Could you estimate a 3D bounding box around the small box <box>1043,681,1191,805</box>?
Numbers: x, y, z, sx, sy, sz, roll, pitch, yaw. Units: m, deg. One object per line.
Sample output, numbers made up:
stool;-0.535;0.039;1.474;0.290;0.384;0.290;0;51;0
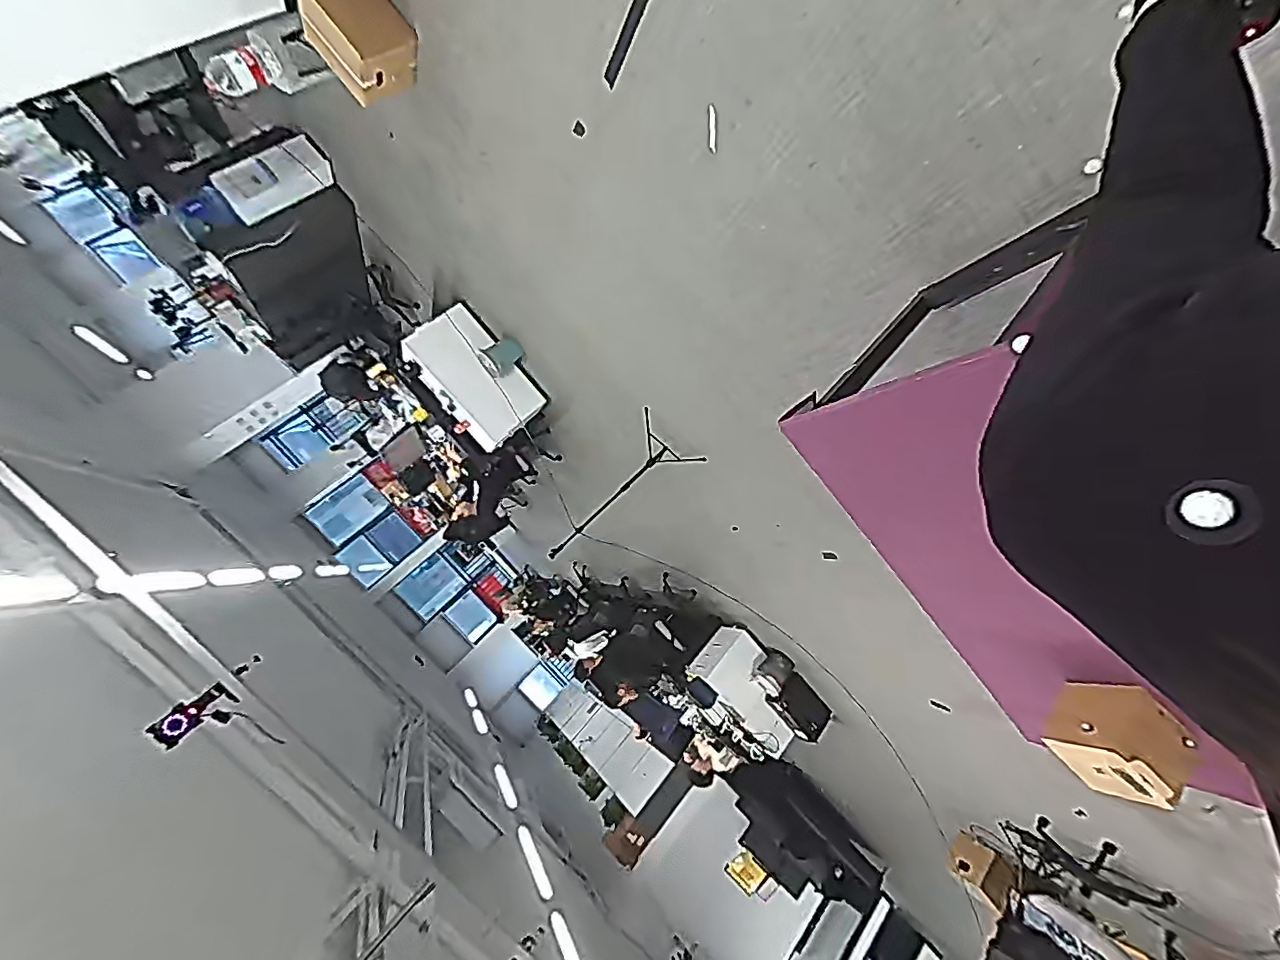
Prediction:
small box;1.058;0.569;1.196;0.168;0.176;0.179;45;159;2
